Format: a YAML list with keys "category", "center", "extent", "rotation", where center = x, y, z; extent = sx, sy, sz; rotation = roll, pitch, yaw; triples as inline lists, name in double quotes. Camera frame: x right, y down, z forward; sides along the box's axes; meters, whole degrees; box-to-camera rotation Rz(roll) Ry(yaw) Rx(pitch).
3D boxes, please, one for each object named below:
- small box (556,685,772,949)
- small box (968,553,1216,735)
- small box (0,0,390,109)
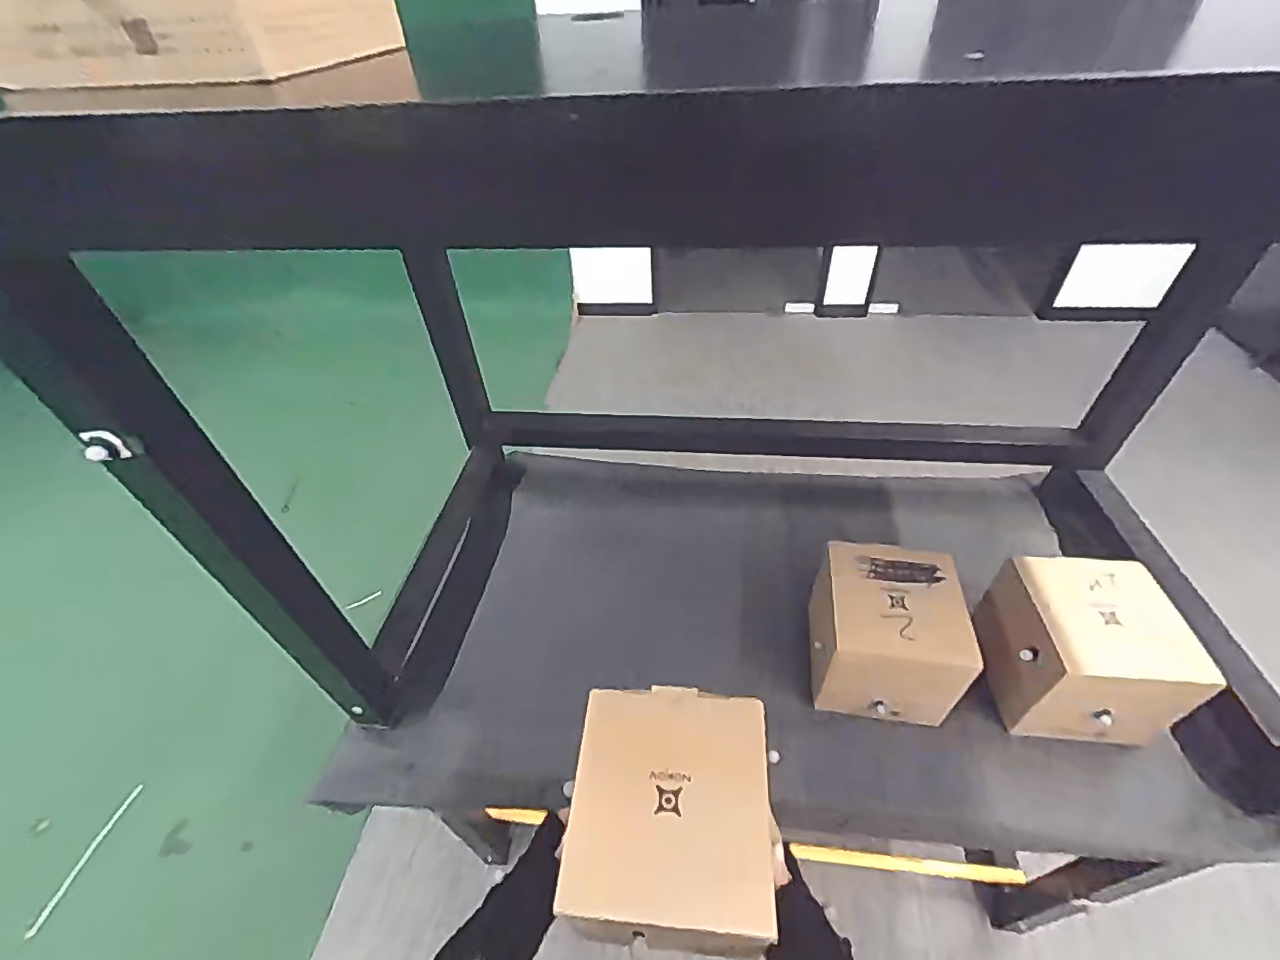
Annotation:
- category: "small box"
  center: [0.032, 0.317, 0.512]
  extent: [0.168, 0.176, 0.179]
  rotation: [0, 44, 7]
- category: "small box"
  center: [0.578, 0.220, 0.726]
  extent: [0.168, 0.176, 0.179]
  rotation: [2, 42, 6]
- category: "small box"
  center: [-0.269, -0.325, 0.304]
  extent: [0.168, 0.176, 0.179]
  rotation: [2, 44, 6]
